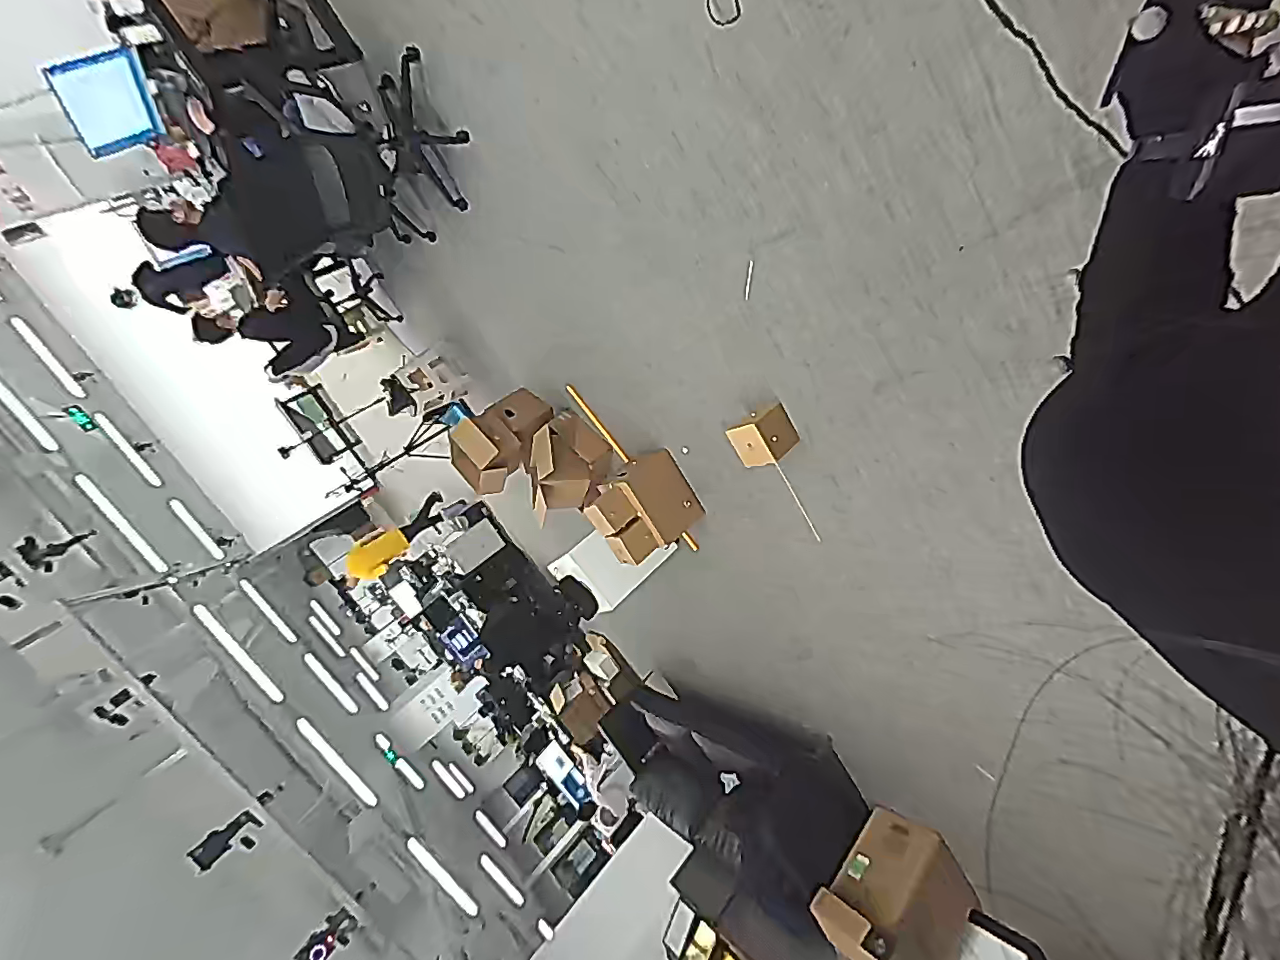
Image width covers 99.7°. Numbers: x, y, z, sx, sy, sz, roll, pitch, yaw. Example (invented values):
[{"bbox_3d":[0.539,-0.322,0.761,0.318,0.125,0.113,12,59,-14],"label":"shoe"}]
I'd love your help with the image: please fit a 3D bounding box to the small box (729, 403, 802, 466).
[{"bbox_3d":[0.482,-0.177,2.071,0.179,0.176,0.168,56,151,-12],"label":"small box"}]
